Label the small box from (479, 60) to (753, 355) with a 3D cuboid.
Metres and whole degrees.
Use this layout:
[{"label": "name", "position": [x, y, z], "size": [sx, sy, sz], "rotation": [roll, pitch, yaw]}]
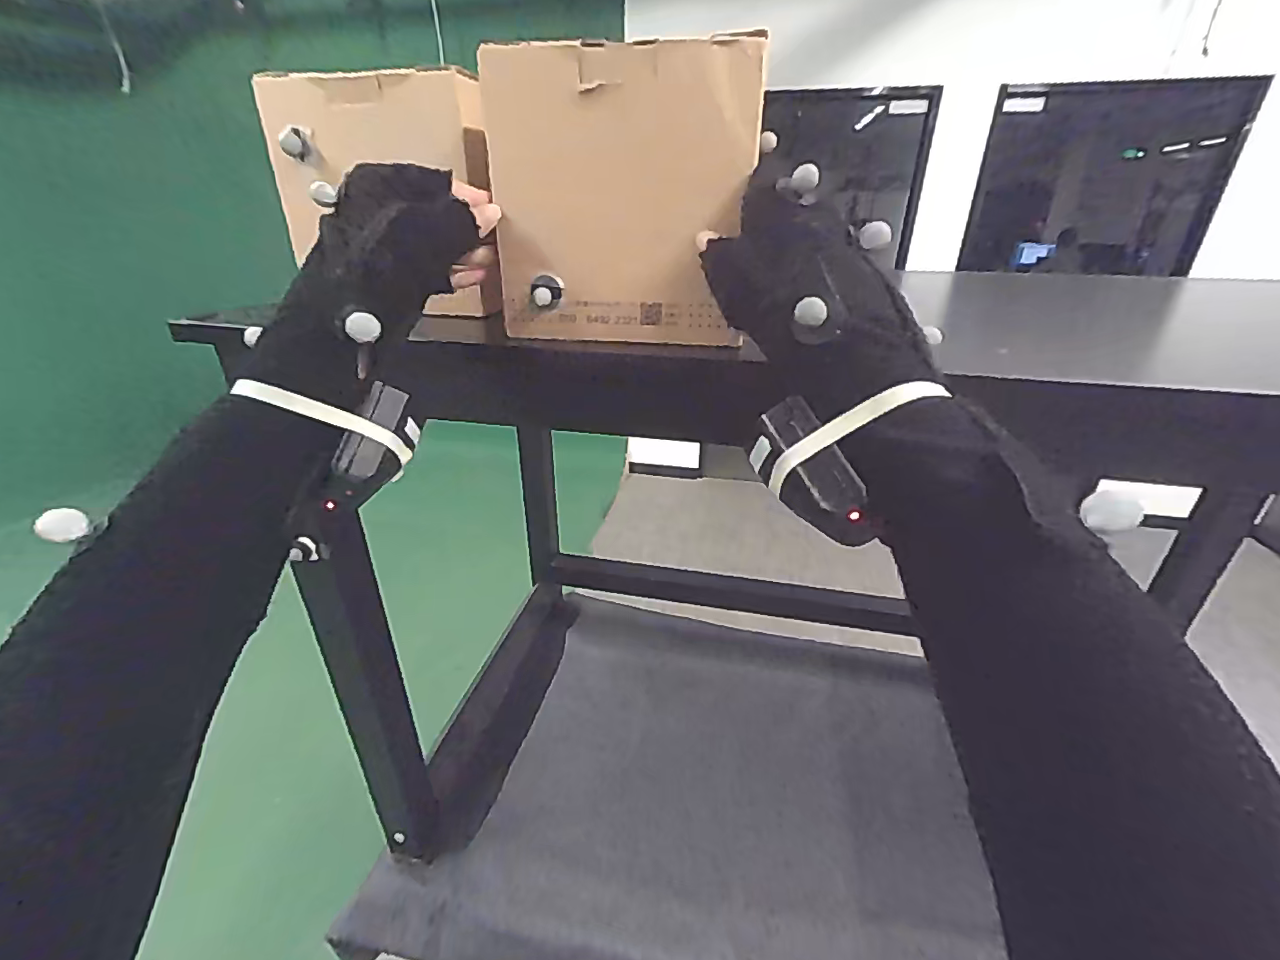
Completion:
[{"label": "small box", "position": [-0.003, -0.198, 0.419], "size": [0.168, 0.176, 0.179], "rotation": [4, 26, 7]}]
